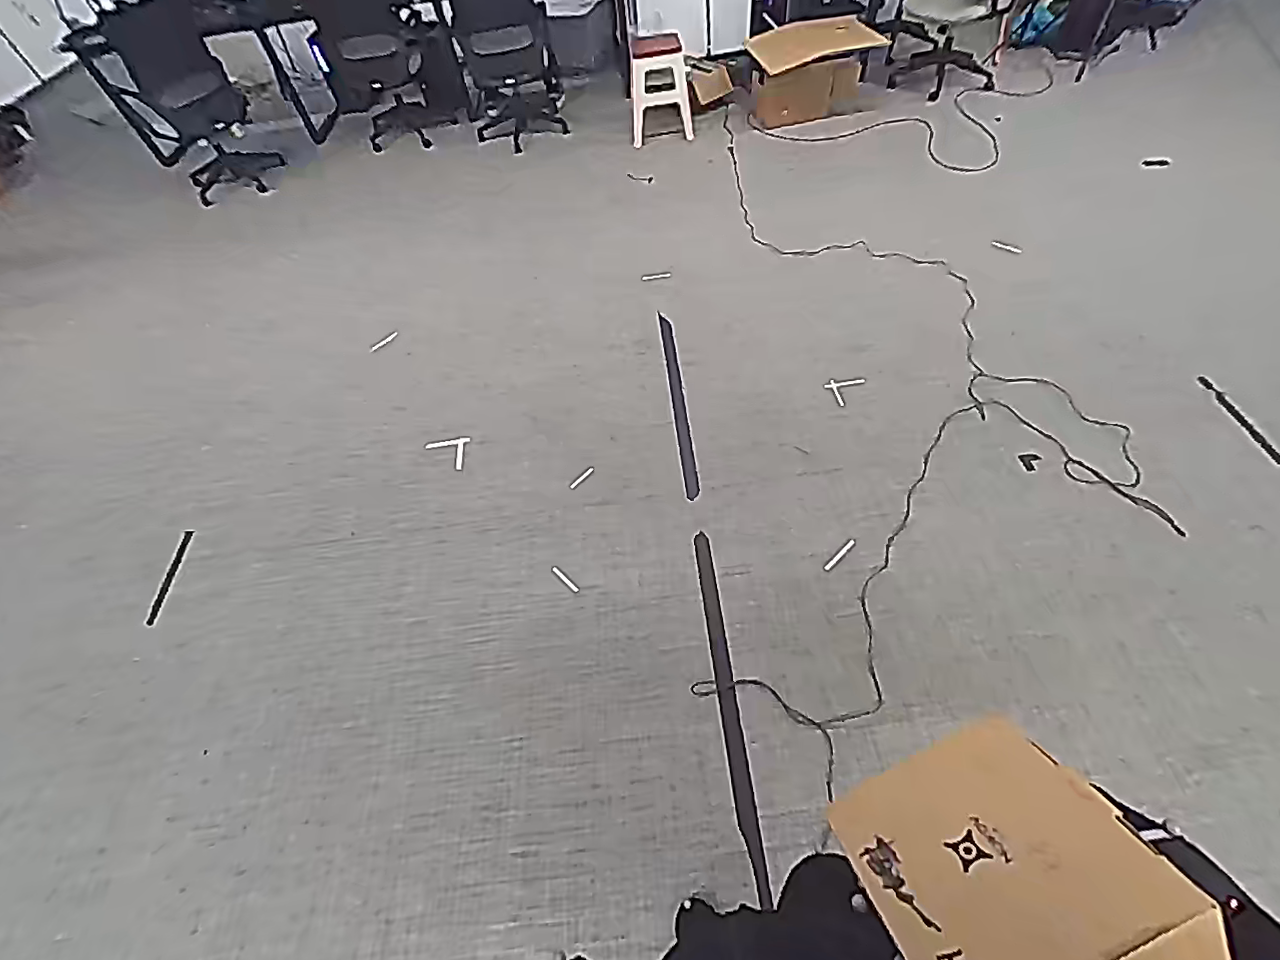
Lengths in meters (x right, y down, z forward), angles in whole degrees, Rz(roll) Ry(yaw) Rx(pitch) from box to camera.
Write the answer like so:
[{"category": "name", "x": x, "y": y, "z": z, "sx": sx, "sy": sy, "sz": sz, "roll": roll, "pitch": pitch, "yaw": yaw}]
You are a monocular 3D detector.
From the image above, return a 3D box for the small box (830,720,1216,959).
[{"category": "small box", "x": 0.288, "y": 0.338, "z": 0.423, "sx": 0.179, "sy": 0.176, "sz": 0.168, "roll": -29, "pitch": 18, "yaw": 0}]
